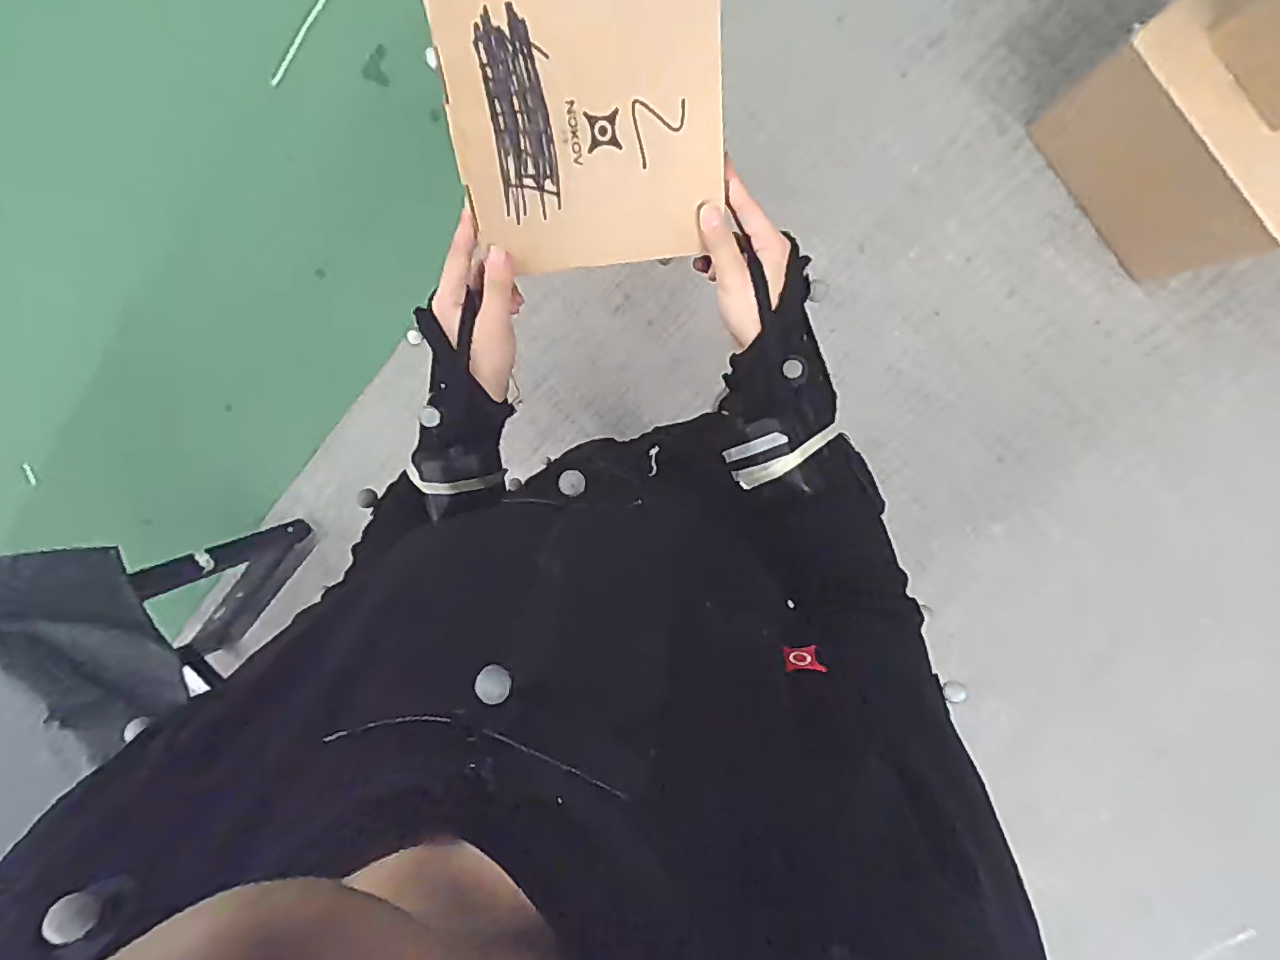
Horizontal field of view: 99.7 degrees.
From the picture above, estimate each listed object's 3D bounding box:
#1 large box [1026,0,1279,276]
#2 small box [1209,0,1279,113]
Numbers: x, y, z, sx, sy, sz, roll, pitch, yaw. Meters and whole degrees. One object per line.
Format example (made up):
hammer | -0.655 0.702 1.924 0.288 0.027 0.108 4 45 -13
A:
large box | 0.991 -0.631 0.925 0.320 0.320 0.408 -39 93 15
small box | 0.919 -0.616 0.690 0.168 0.176 0.179 -38 91 13
